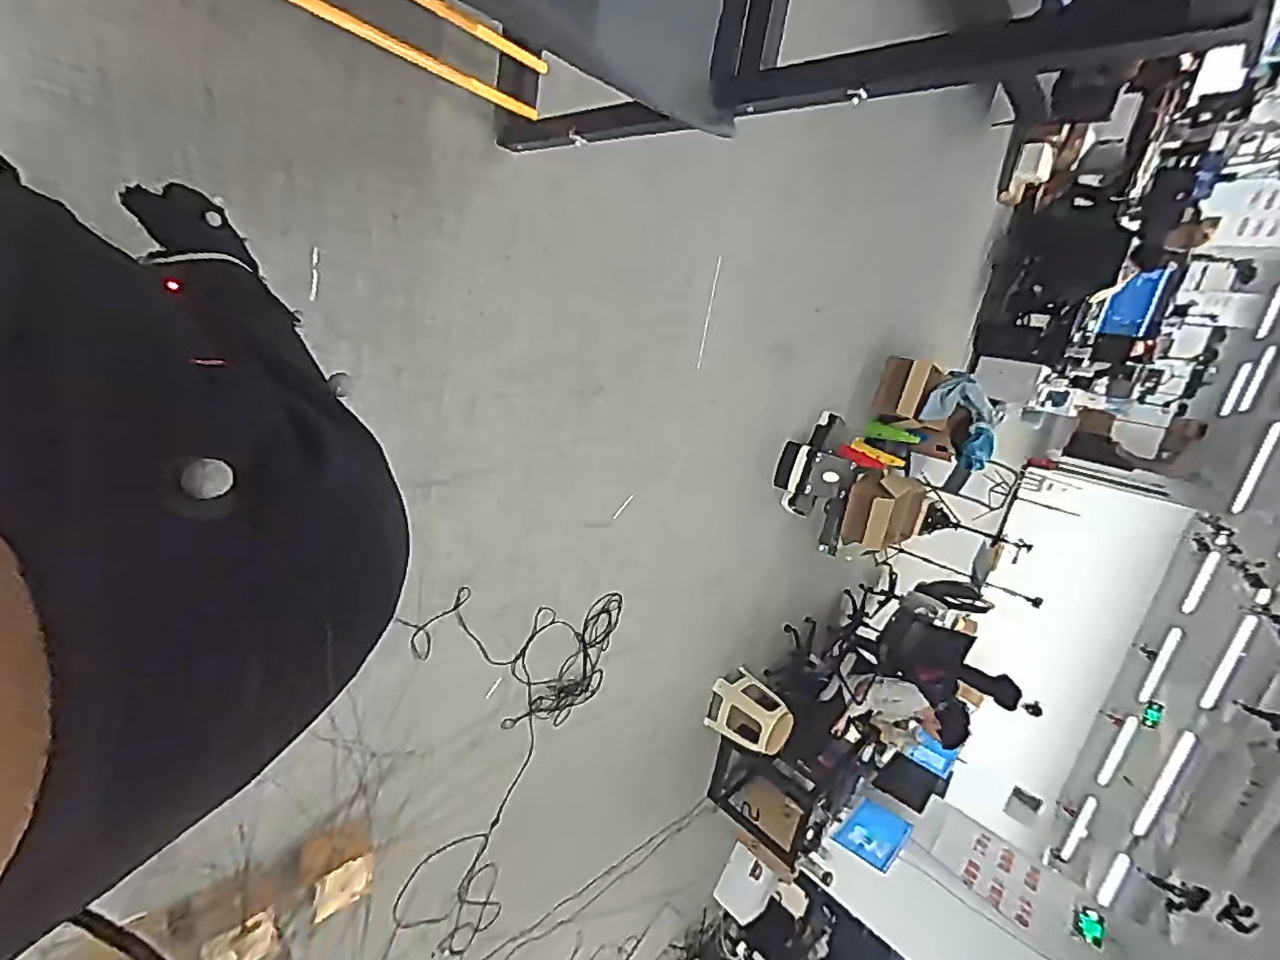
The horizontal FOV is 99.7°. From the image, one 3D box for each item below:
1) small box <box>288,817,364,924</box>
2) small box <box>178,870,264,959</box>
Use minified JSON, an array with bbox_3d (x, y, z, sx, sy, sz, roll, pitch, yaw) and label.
[{"bbox_3d":[-0.995,1.223,1.708,0.168,0.176,0.179,-5,111,-48],"label":"small box"},{"bbox_3d":[-1.174,1.243,1.513,0.168,0.176,0.179,-5,113,-48],"label":"small box"}]
